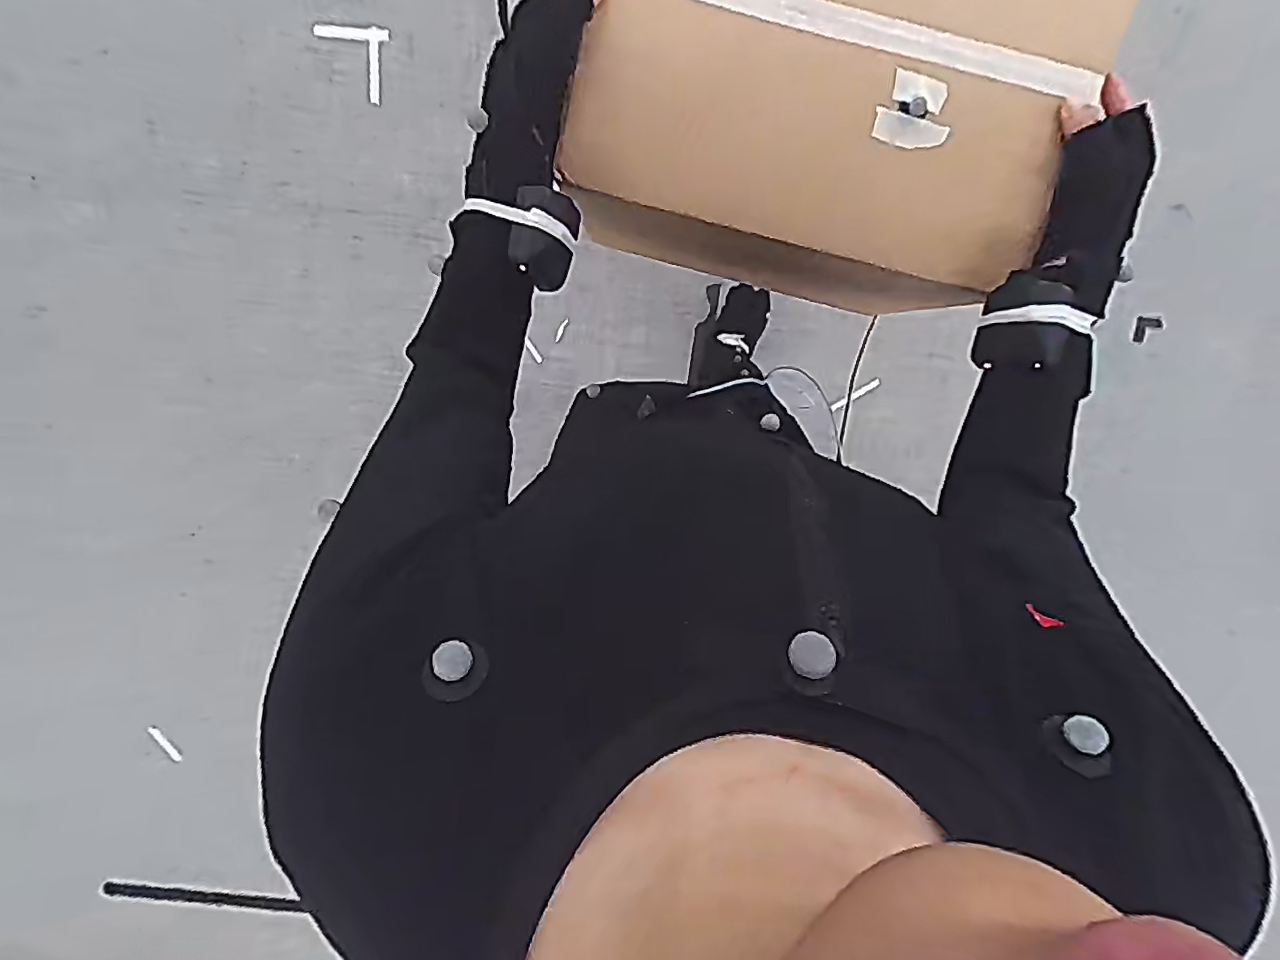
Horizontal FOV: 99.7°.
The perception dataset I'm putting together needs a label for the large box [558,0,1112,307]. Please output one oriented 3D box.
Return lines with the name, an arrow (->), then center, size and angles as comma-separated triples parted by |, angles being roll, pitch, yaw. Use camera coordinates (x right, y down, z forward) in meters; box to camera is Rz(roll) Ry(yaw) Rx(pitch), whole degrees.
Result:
large box -> 0.153, -0.387, 0.567 | 0.408, 0.320, 0.320 | 13, 105, -4
